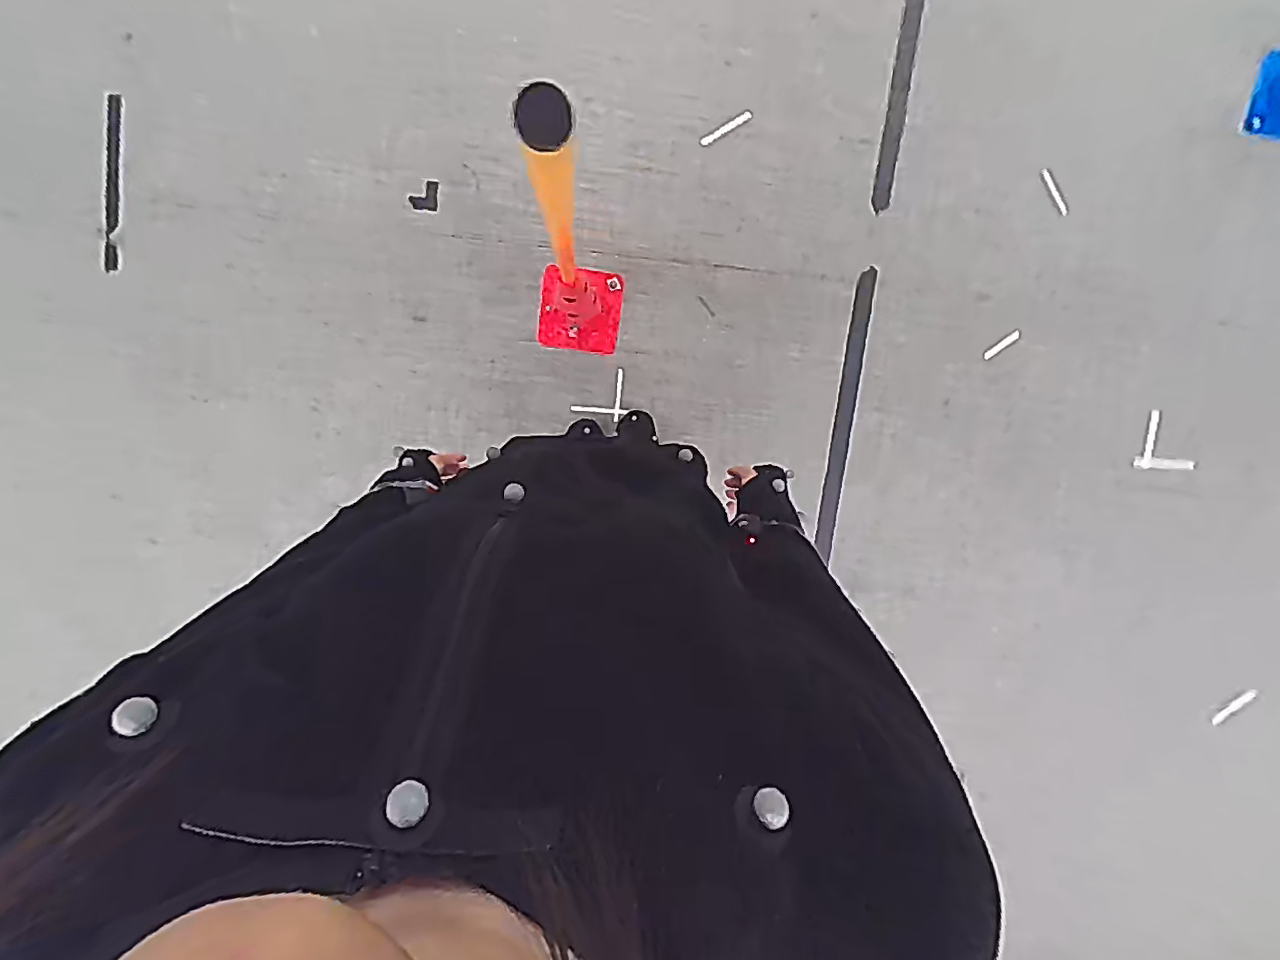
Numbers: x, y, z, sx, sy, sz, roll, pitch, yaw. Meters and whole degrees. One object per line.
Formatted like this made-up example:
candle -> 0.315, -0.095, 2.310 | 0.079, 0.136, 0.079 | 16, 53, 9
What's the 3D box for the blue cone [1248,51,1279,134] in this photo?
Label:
blue cone -> 1.651, -0.948, 1.200 | 0.193, 0.380, 0.192 | 9, 98, -4
